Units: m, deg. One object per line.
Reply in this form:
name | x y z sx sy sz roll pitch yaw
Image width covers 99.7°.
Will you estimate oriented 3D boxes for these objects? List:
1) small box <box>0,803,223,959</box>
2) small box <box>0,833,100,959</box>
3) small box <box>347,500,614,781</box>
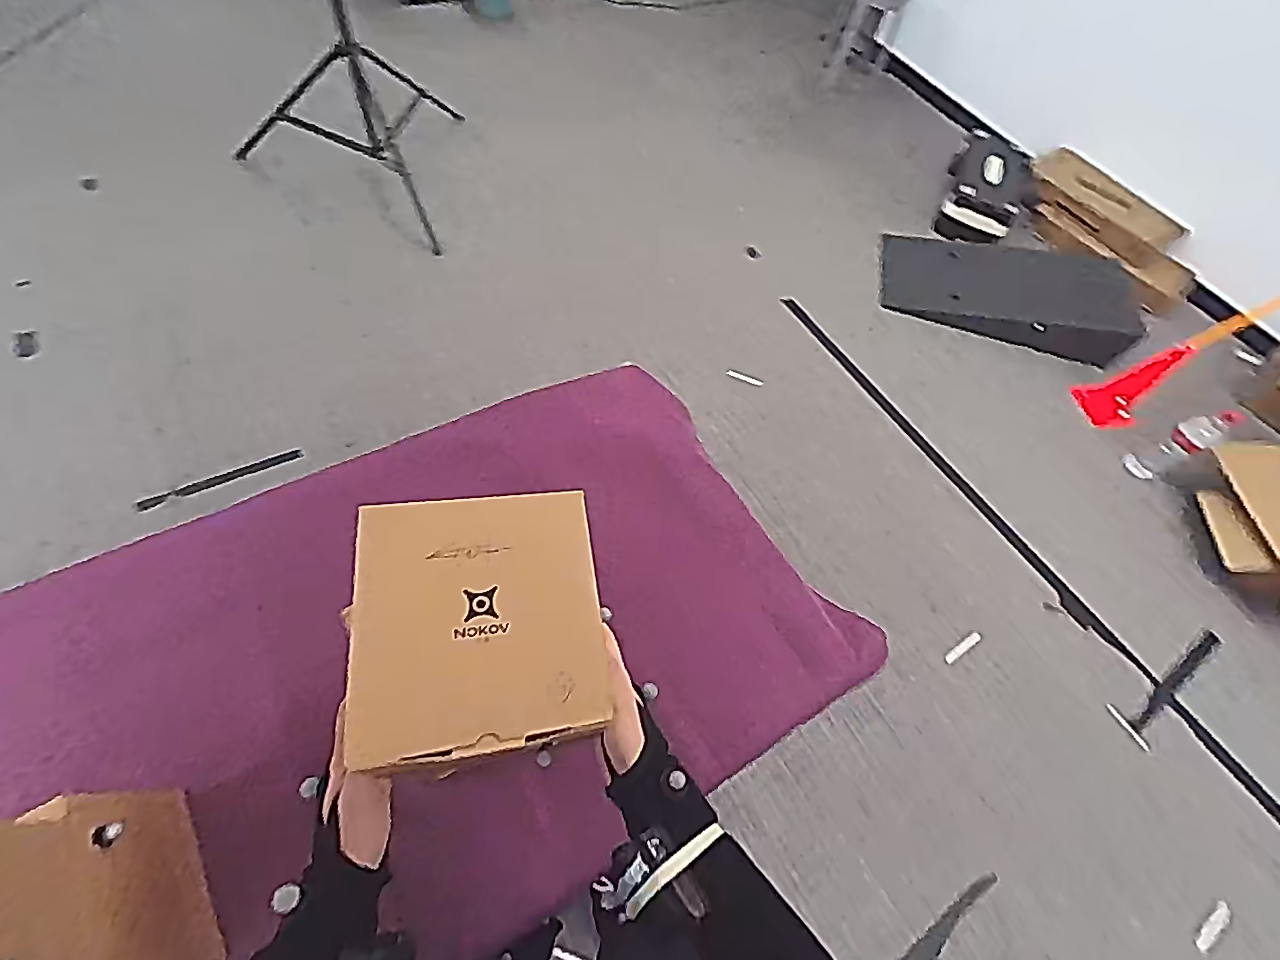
small box | -0.495 0.400 0.450 0.168 0.176 0.179 -27 69 -22
small box | -0.457 0.336 0.303 0.168 0.176 0.179 -32 71 -24
small box | -0.123 0.134 0.443 0.168 0.176 0.179 -3 61 -16
